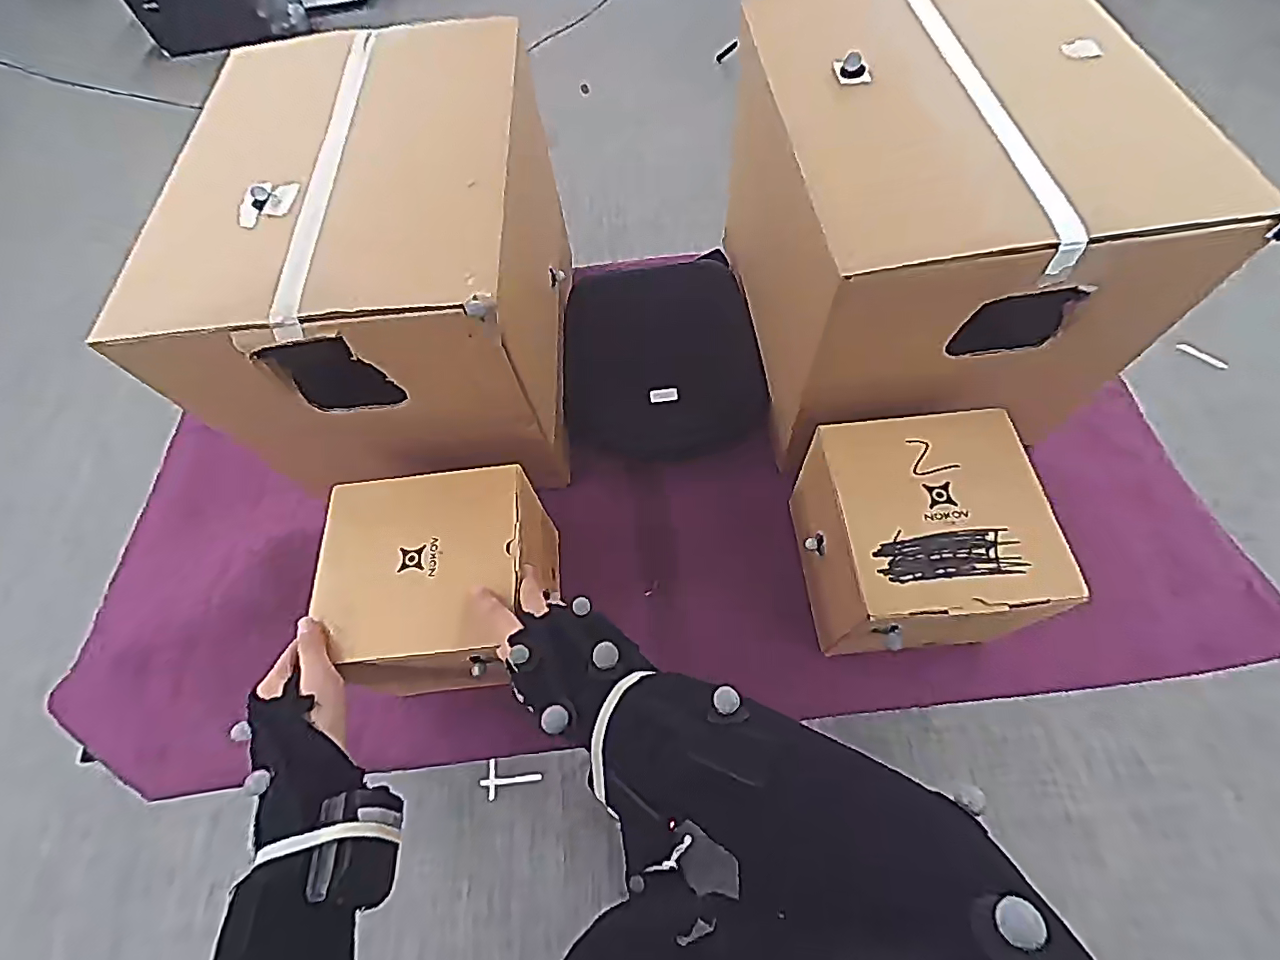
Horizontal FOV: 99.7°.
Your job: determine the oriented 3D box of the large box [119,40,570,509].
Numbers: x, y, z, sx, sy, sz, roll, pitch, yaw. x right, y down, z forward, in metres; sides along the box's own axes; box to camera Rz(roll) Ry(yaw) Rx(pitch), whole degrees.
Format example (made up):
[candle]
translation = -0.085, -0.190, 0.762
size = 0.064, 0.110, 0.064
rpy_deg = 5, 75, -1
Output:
[large box]
translation = -0.262, -0.215, 0.632
size = 0.320, 0.320, 0.408
rpy_deg = -6, 65, 3
